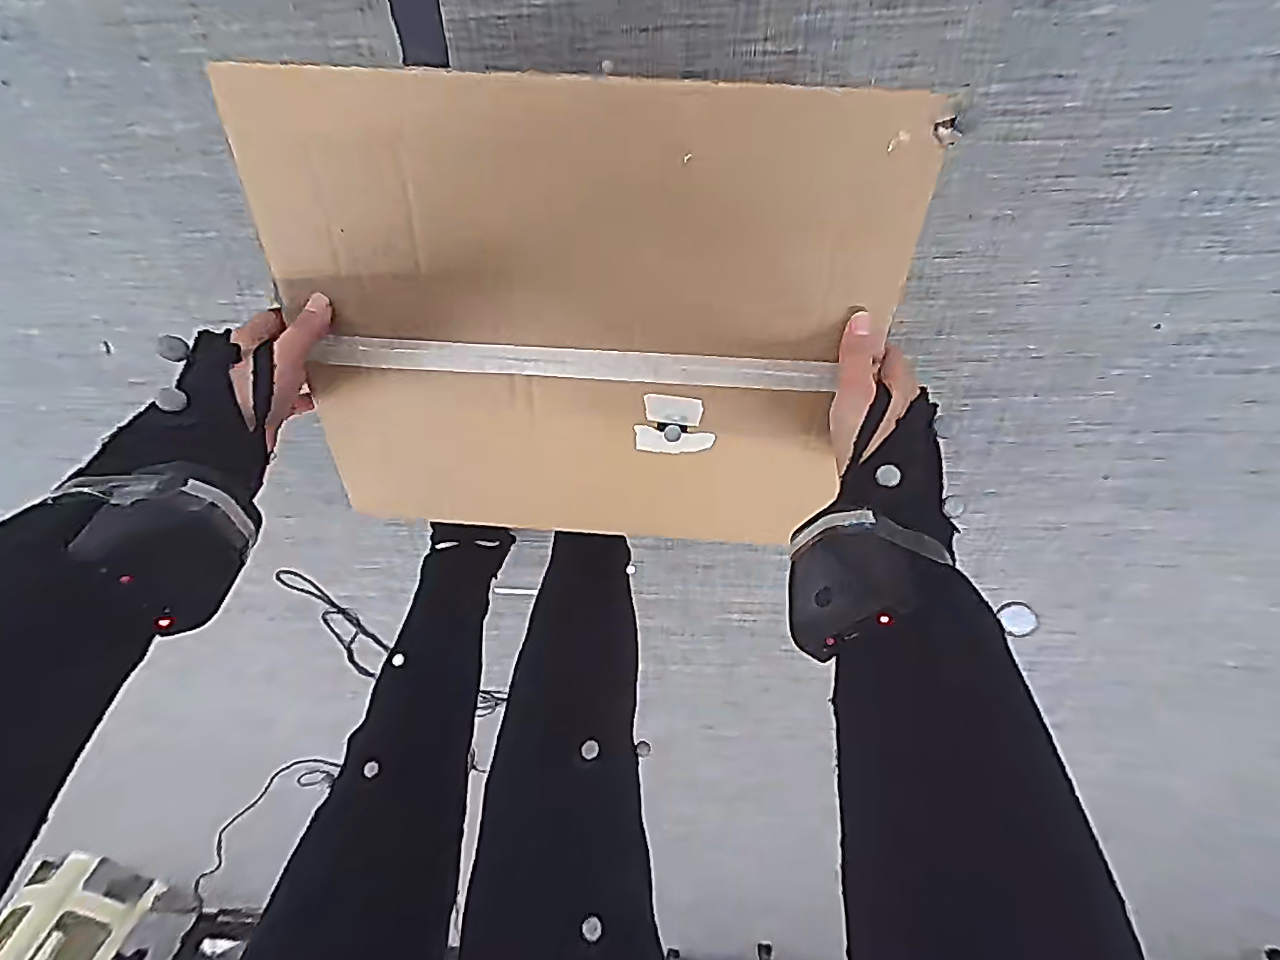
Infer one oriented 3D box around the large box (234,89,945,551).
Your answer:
[{"bbox_3d":[-0.031,-0.157,0.501,0.408,0.320,0.320,3,125,1],"label":"large box"}]
